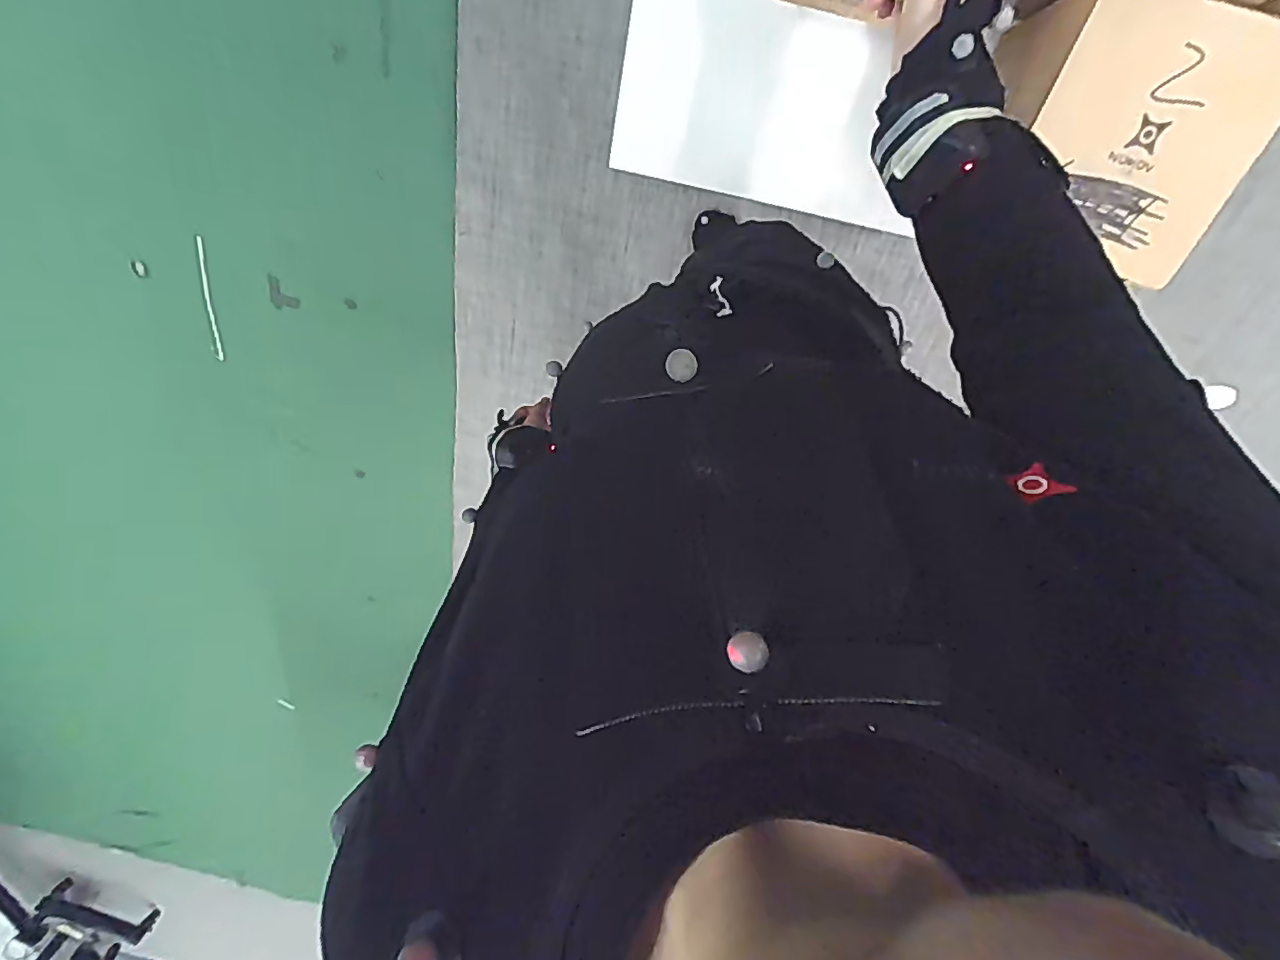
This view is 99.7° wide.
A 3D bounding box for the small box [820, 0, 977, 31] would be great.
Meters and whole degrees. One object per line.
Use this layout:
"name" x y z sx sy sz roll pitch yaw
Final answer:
"small box" 0.217 -0.479 0.386 0.168 0.176 0.179 14 108 0
